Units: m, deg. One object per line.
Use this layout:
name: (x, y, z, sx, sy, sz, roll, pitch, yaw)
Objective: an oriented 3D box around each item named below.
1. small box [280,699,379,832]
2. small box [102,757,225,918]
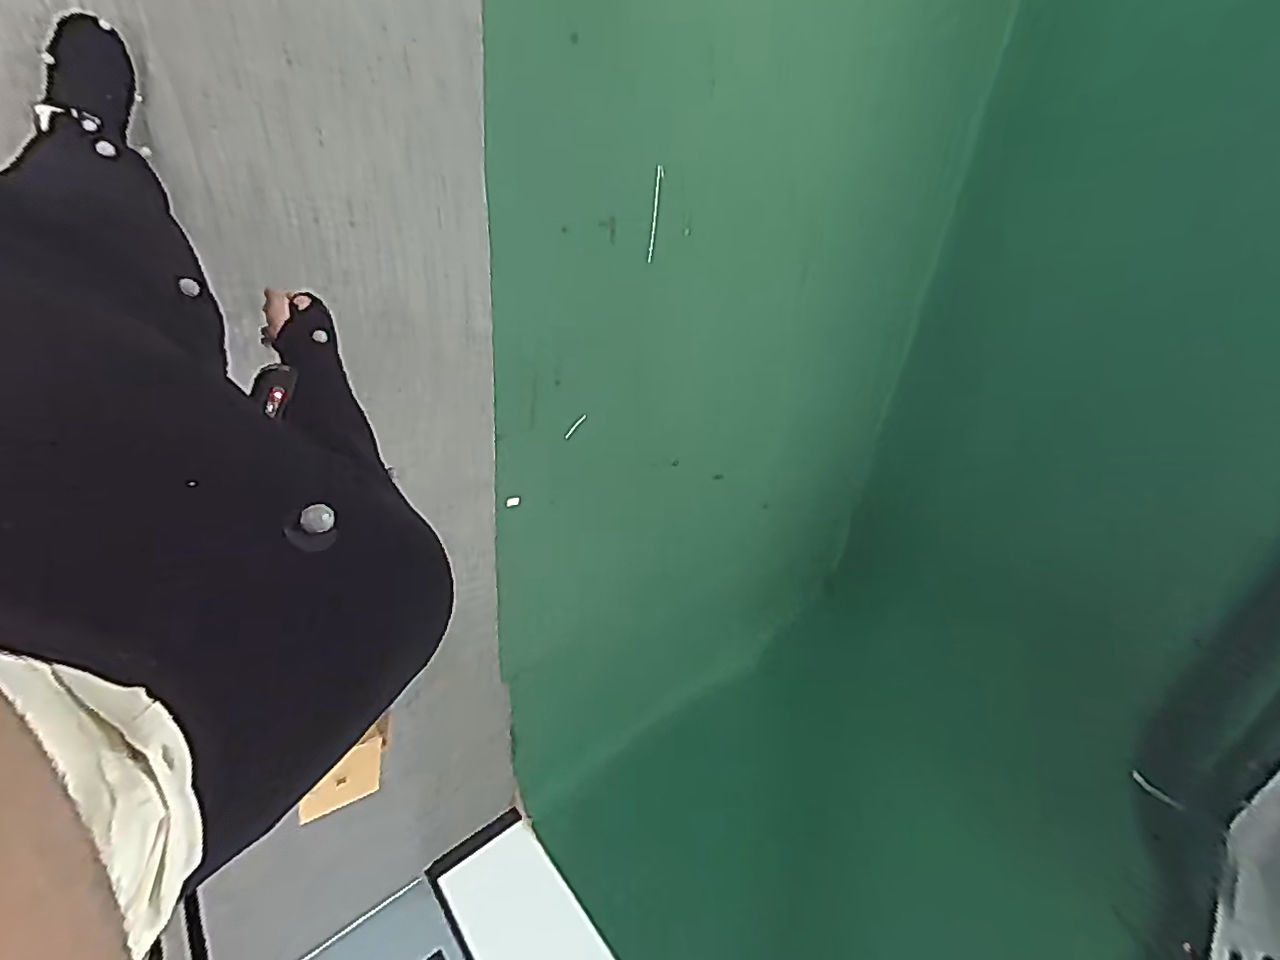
small box: (-0.718, 0.647, 1.245, 0.168, 0.176, 0.179, -7, 117, -42)
small box: (-0.926, 0.676, 1.053, 0.168, 0.176, 0.179, -7, 119, -41)
